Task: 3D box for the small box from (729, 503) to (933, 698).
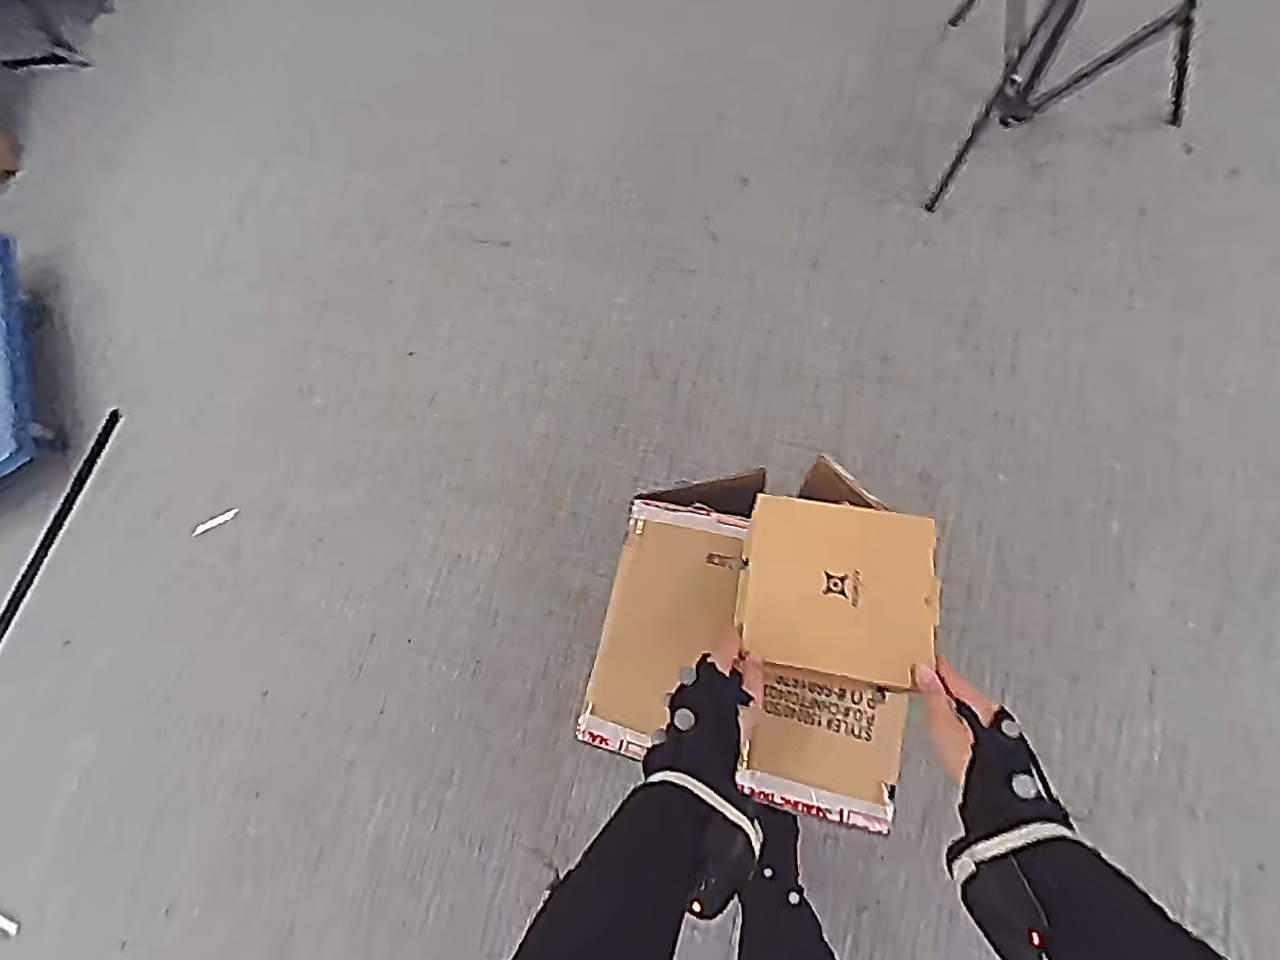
[{"bbox_3d":[0.197,0.139,0.594,0.179,0.176,0.168,9,69,8],"label":"small box"}]
